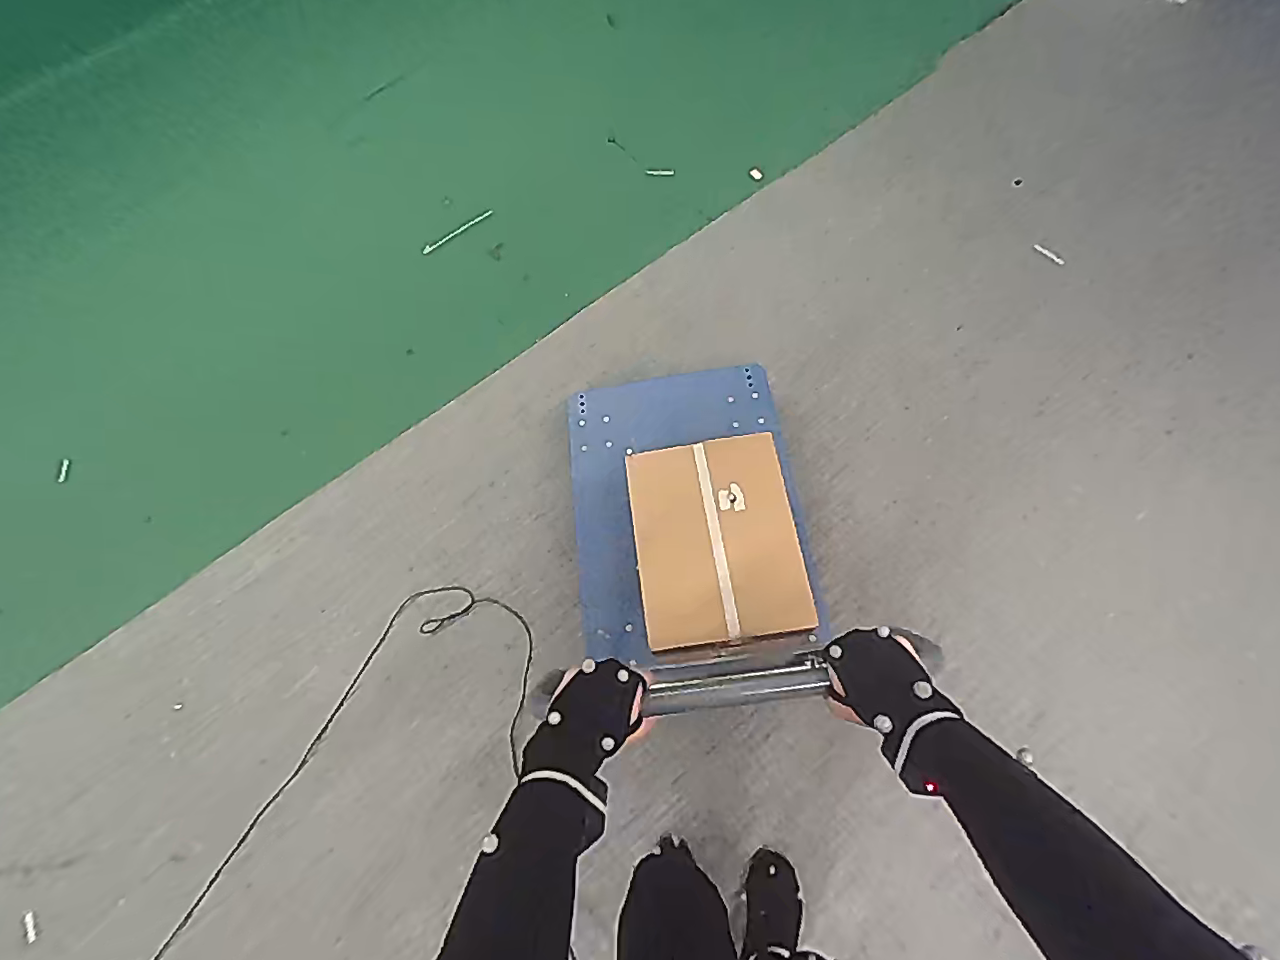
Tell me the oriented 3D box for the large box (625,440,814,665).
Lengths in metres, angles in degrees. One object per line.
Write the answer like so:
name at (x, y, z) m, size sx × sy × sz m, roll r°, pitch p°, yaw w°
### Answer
large box at (0.162, 0.177, 1.217) m, size 0.320 × 0.320 × 0.408 m, roll -9°, pitch 66°, yaw 2°
